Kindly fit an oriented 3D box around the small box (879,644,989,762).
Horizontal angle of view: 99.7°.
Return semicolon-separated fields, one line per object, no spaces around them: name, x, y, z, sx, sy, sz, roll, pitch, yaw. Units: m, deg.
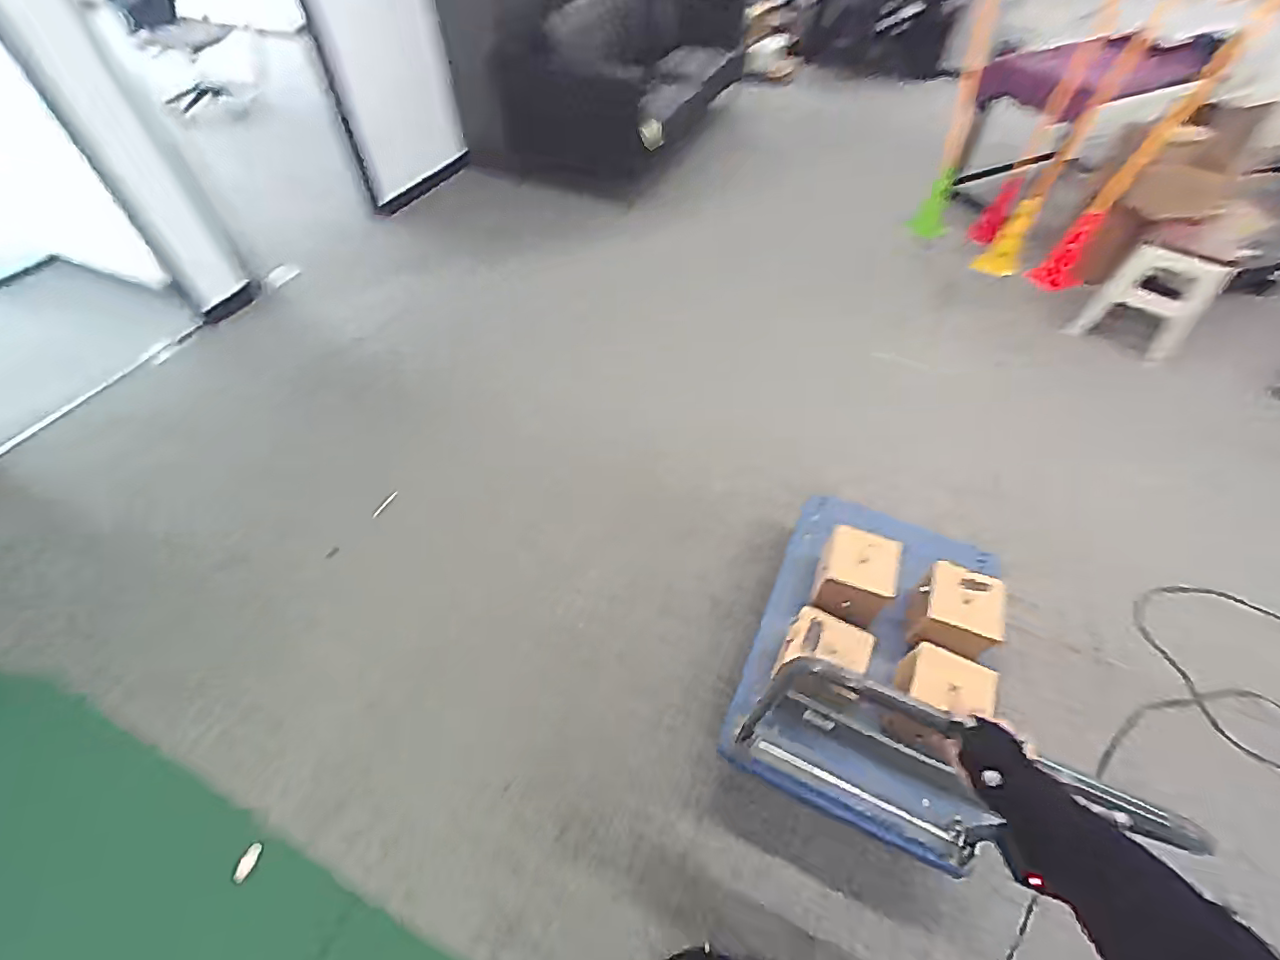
small box;0.681;0.523;1.264;0.168;0.176;0.179;23;55;16

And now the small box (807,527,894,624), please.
small box;0.566;0.262;1.467;0.168;0.176;0.179;18;53;12

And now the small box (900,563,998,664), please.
small box;0.796;0.351;1.401;0.168;0.176;0.179;19;54;15
